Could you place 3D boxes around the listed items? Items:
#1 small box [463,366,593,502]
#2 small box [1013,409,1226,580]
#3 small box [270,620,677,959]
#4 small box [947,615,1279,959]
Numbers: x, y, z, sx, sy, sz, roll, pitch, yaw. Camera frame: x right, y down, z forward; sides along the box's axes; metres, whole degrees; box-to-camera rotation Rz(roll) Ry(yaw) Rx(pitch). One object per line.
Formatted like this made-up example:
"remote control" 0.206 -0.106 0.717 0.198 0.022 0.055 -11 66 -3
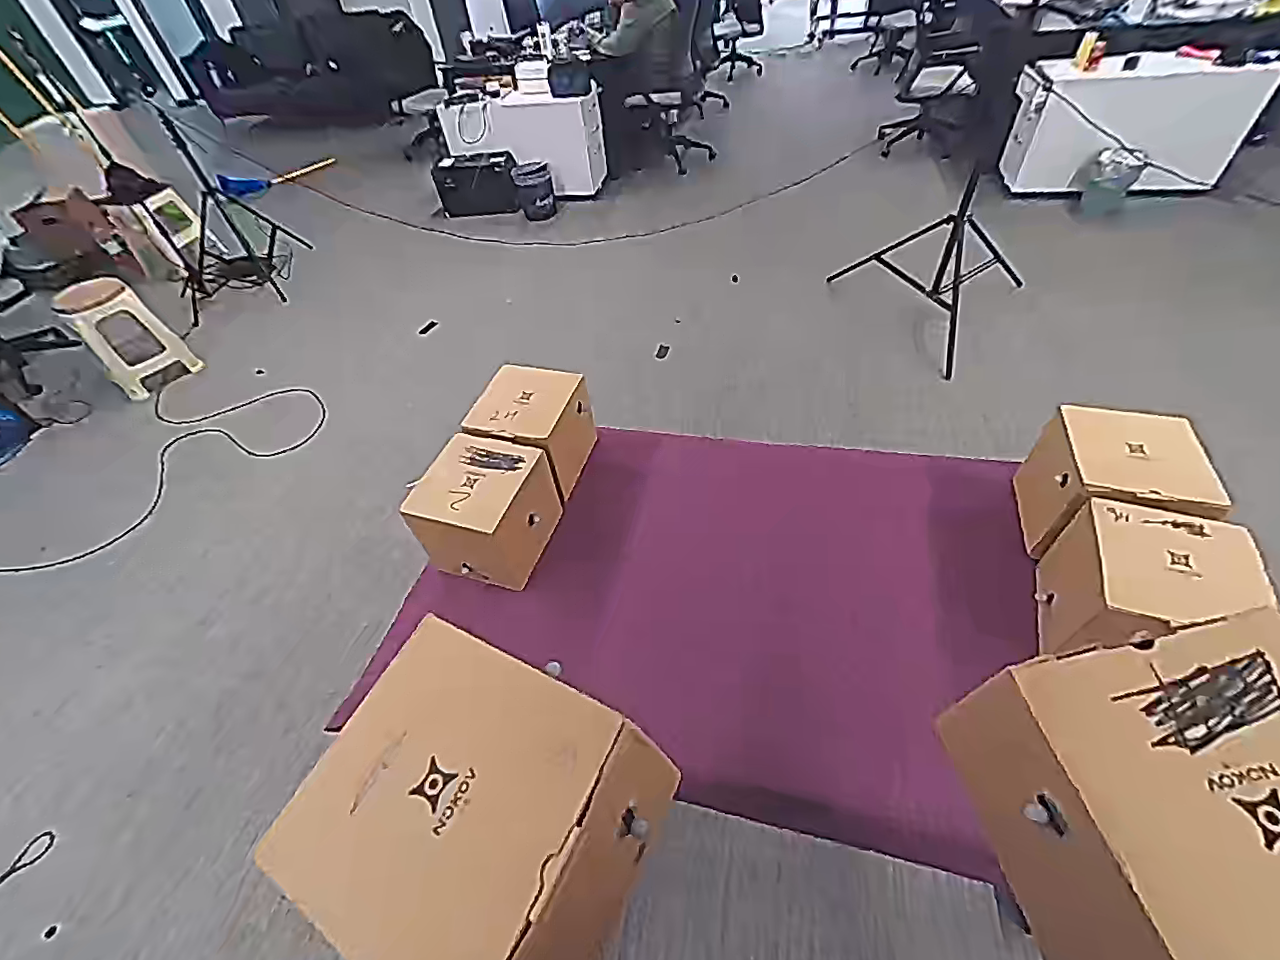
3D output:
"small box" -0.196 -0.086 1.013 0.168 0.176 0.179 10 51 15
"small box" 0.695 0.020 0.815 0.168 0.176 0.179 10 49 14
"small box" -0.092 0.231 0.379 0.179 0.176 0.168 15 57 28
"small box" 0.334 0.213 0.347 0.168 0.176 0.179 -14 54 2
